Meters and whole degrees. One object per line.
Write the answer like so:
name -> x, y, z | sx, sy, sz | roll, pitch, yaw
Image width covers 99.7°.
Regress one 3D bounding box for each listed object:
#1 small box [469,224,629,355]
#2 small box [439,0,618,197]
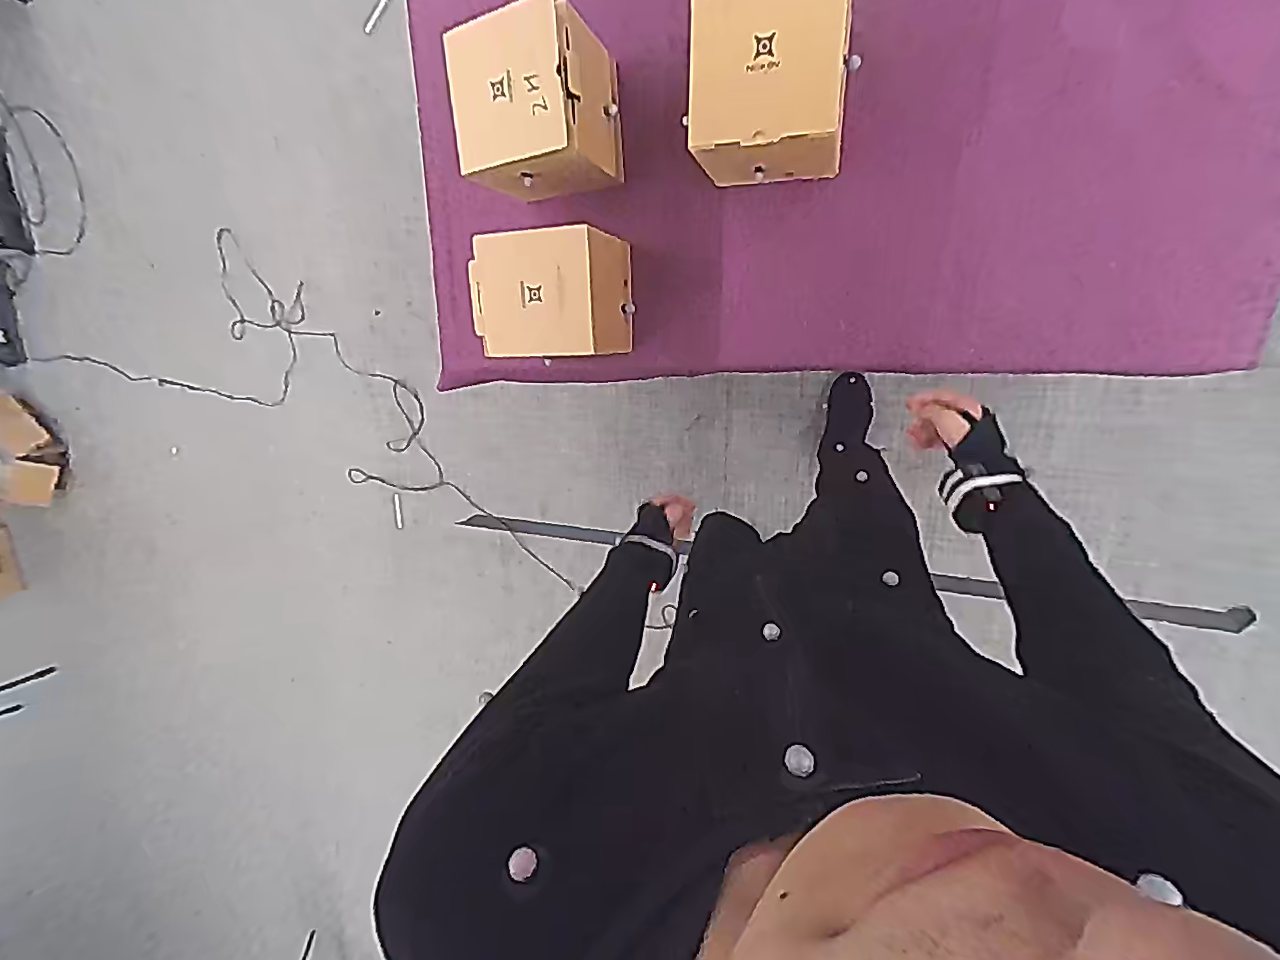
small box -> -0.126, -0.272, 0.804 | 0.179, 0.176, 0.168 | 3, 106, 17
small box -> -0.144, -0.506, 0.745 | 0.179, 0.176, 0.168 | 2, 105, 18
